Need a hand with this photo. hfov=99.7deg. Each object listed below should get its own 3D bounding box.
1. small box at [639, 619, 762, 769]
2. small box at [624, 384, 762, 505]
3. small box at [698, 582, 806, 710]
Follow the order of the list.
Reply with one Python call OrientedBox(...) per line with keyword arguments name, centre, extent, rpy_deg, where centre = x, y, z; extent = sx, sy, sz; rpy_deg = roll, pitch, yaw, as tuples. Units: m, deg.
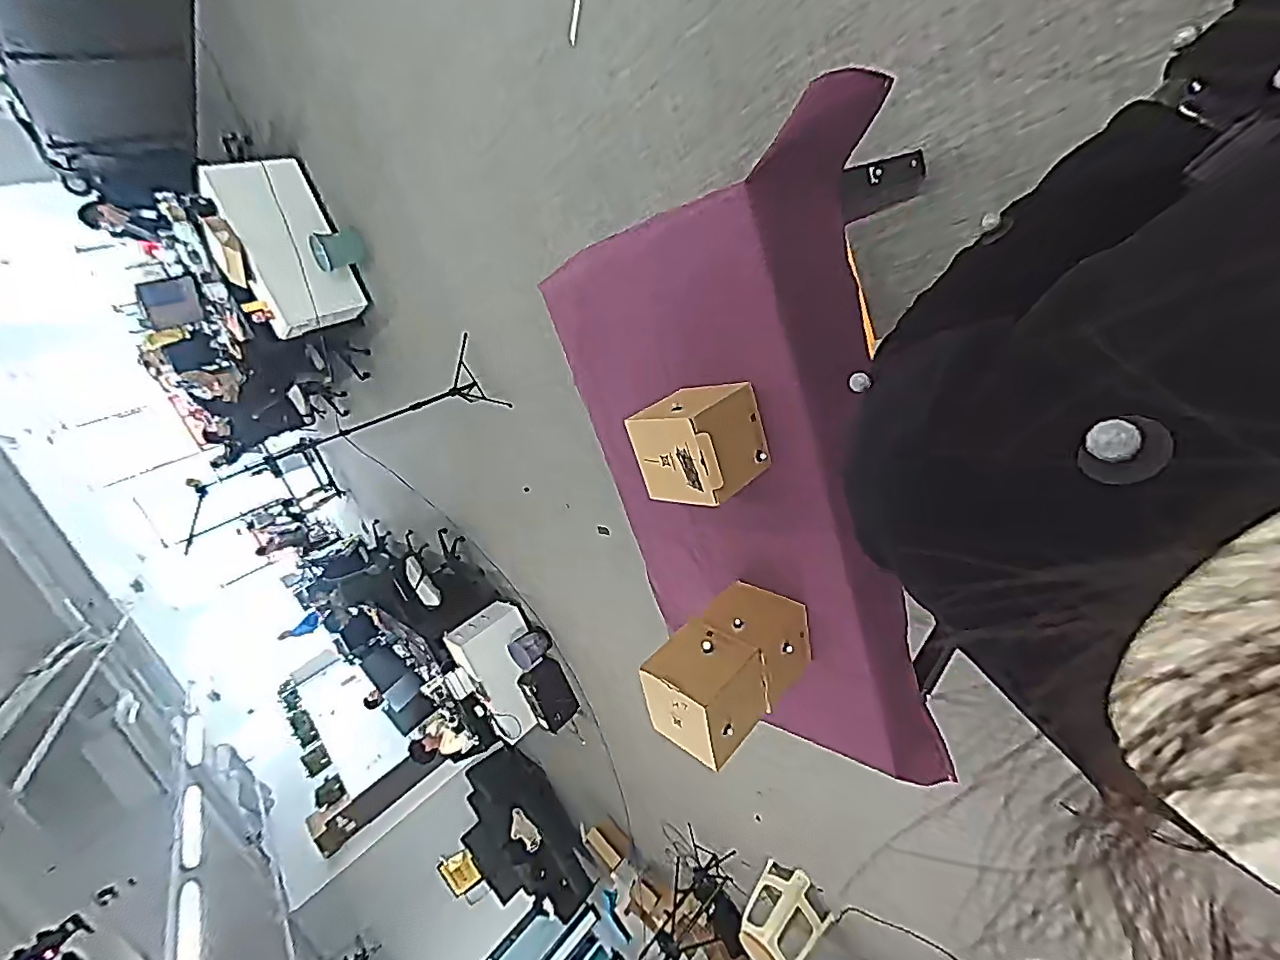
OrientedBox(name="small box", centre=(0.125, 0.411, 1.063), extent=(0.168, 0.176, 0.179), rpy_deg=(15, 126, 43))
OrientedBox(name="small box", centre=(0.106, -0.070, 0.997), extent=(0.179, 0.176, 0.168), rpy_deg=(5, 120, 50))
OrientedBox(name="small box", centre=(0.241, 0.344, 1.158), extent=(0.179, 0.176, 0.168), rpy_deg=(14, 126, 45))
